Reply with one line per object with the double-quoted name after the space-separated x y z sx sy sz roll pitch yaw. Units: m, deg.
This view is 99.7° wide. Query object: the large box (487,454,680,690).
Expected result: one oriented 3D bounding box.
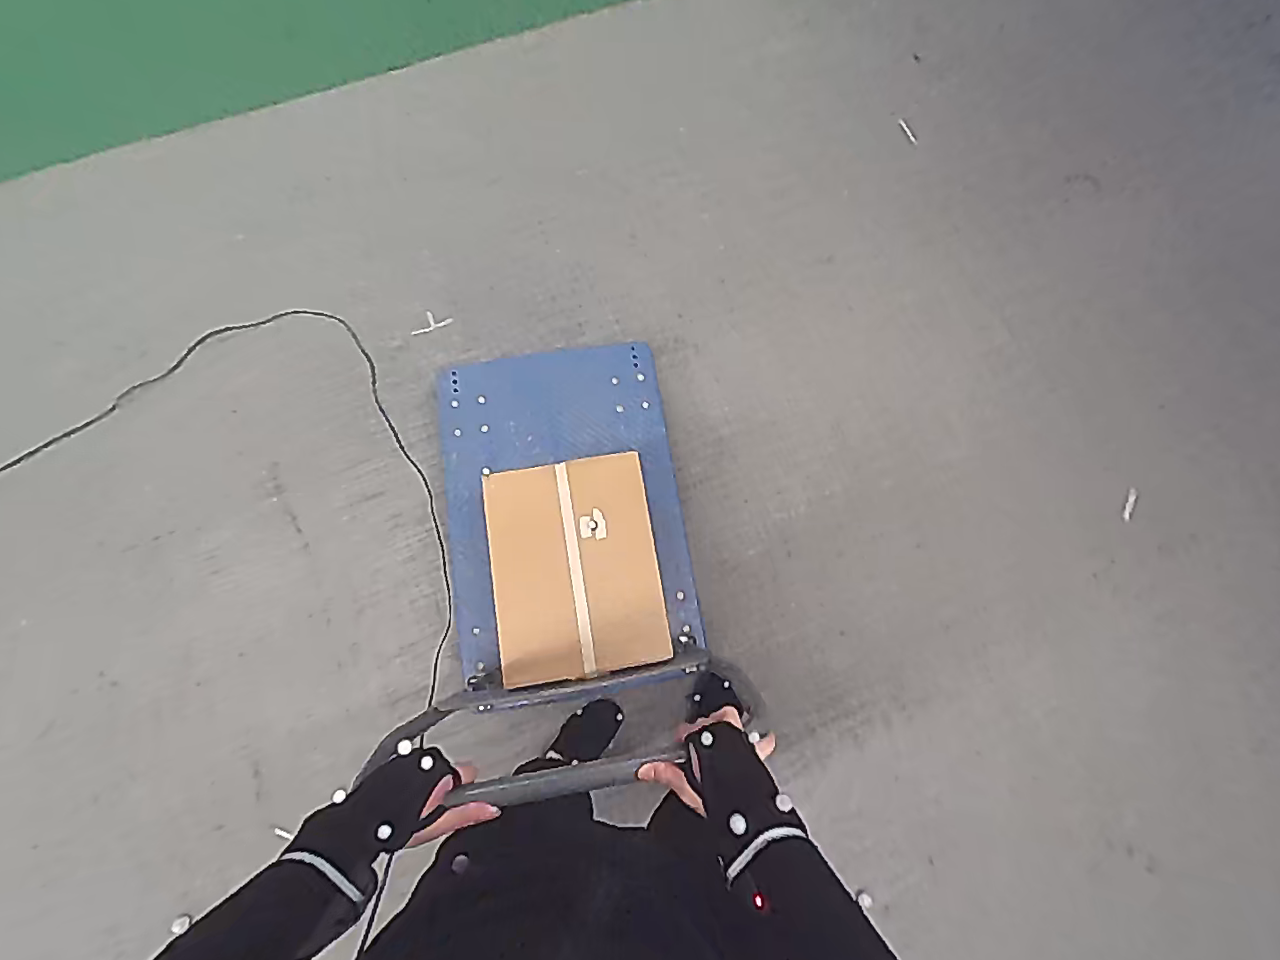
-0.116 0.200 1.159 0.320 0.320 0.408 -9 75 -5 "large box"
